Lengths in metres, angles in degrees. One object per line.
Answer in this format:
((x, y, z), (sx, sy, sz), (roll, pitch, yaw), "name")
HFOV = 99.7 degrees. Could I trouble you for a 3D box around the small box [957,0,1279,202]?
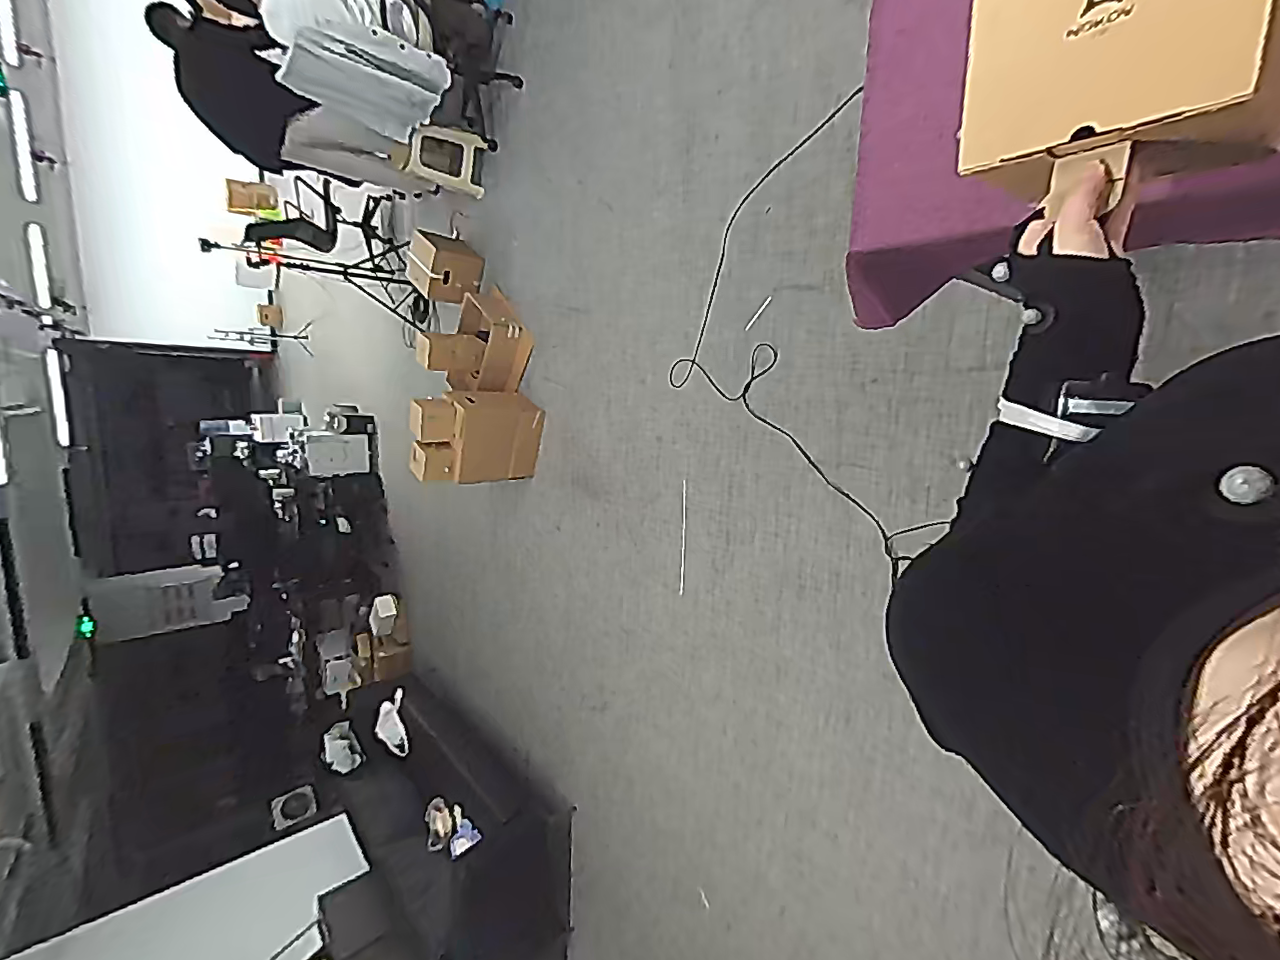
((0.382, -0.344, 0.430), (0.168, 0.176, 0.179), (14, 110, 50), "small box")
